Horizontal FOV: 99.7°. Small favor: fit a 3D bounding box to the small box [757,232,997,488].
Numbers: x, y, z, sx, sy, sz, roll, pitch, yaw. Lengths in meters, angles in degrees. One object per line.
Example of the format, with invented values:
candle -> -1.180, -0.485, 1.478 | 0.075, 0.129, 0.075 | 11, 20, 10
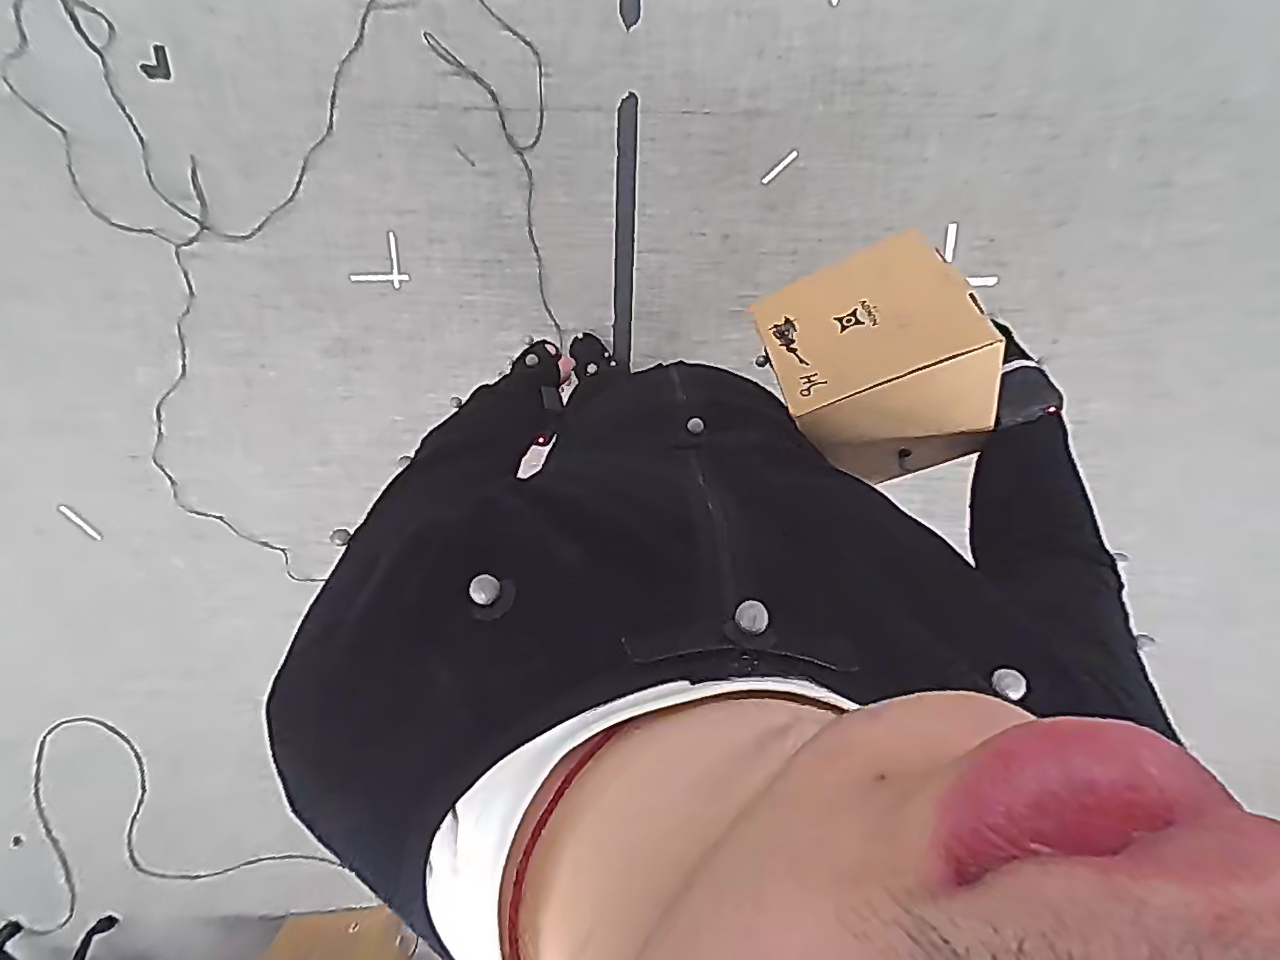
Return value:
small box -> 0.245, -0.117, 0.581 | 0.179, 0.168, 0.176 | -20, 143, 17
